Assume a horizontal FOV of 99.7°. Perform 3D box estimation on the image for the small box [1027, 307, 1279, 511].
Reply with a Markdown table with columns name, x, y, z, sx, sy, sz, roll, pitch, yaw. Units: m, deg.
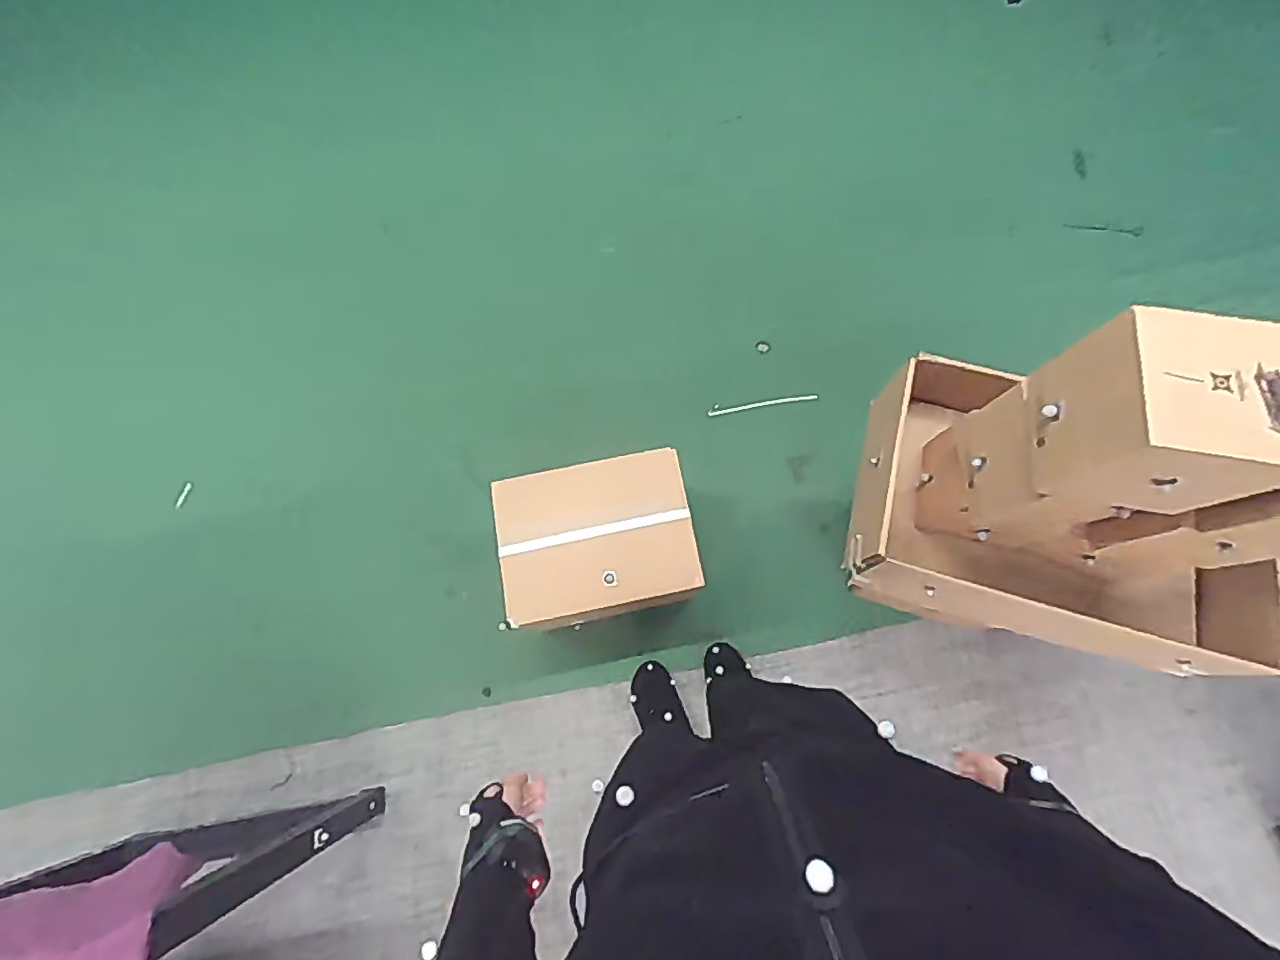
| name | x | y | z | sx | sy | sz | roll | pitch | yaw |
| --- | --- | --- | --- | --- | --- | --- | --- | --- | --- |
| small box | 0.590 | -0.070 | 0.622 | 0.179 | 0.176 | 0.168 | 9 | 72 | 4 |
